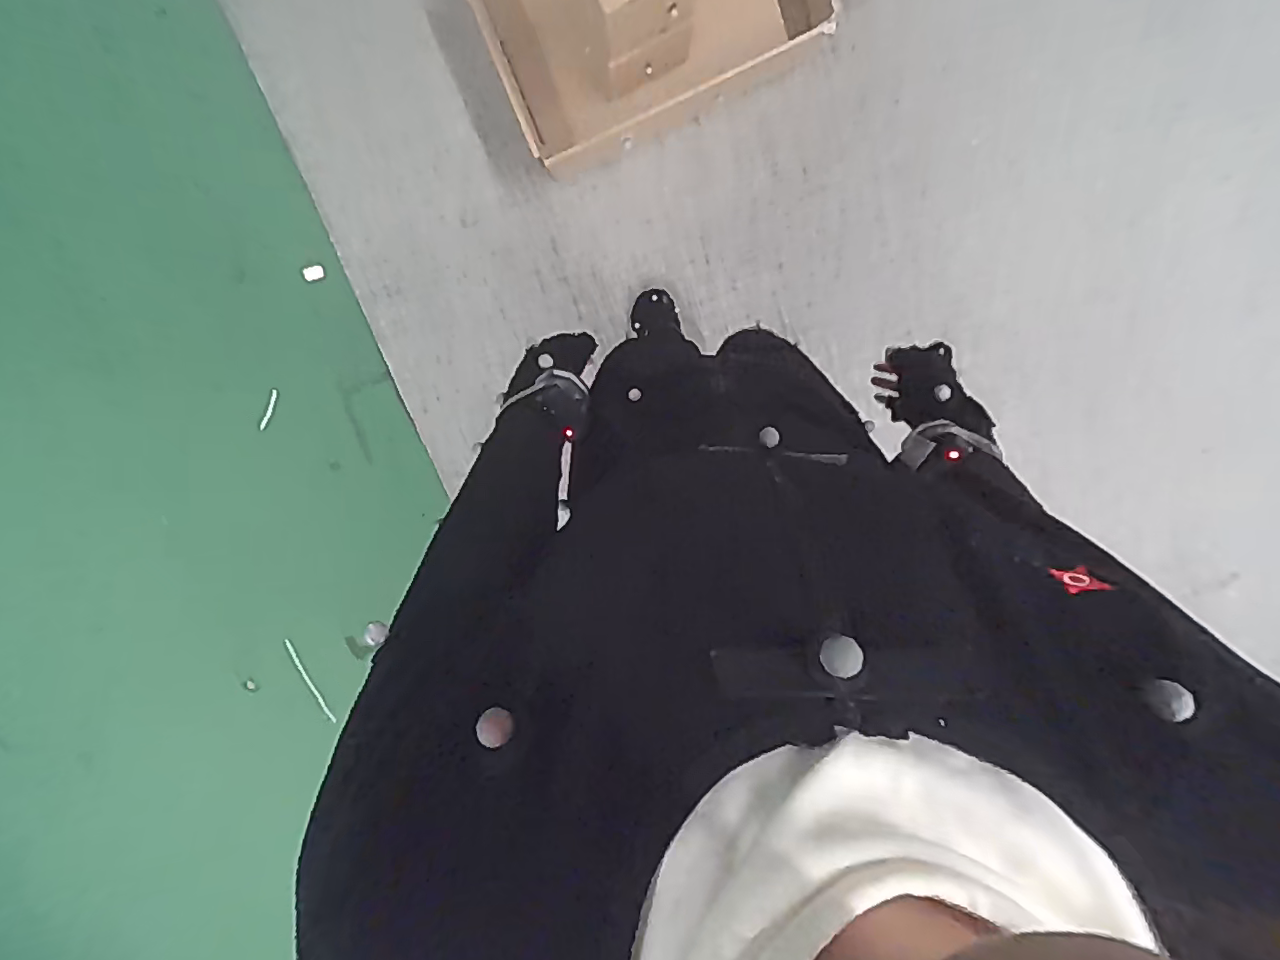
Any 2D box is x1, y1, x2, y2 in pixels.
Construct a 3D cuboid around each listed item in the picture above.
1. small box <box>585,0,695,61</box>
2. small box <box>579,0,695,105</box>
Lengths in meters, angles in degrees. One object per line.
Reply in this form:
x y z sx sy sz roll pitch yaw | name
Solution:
-0.010 -0.836 0.886 0.168 0.176 0.179 -22 104 5 | small box
-0.009 -0.872 1.043 0.179 0.176 0.168 -22 105 8 | small box
